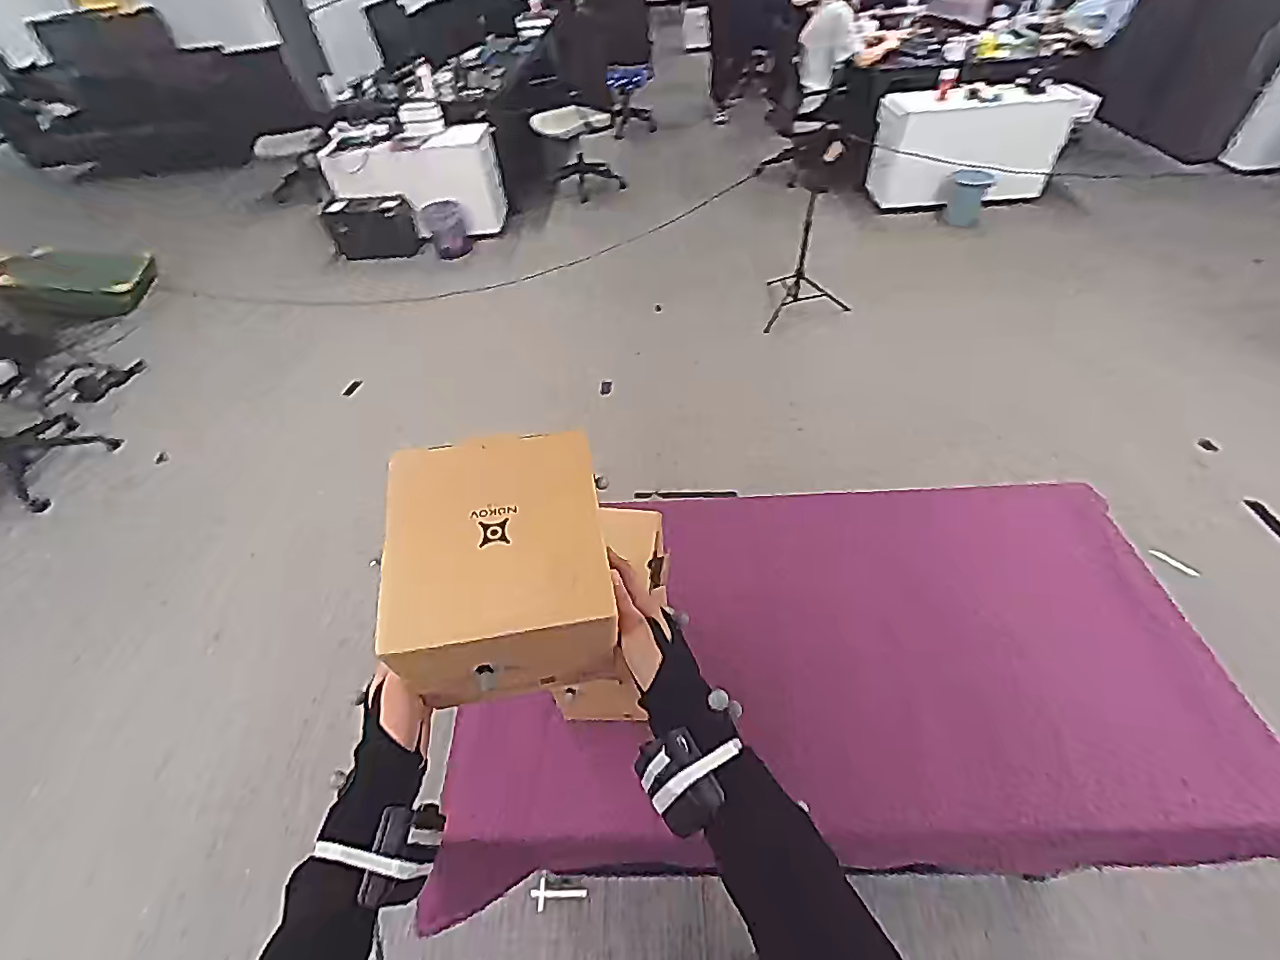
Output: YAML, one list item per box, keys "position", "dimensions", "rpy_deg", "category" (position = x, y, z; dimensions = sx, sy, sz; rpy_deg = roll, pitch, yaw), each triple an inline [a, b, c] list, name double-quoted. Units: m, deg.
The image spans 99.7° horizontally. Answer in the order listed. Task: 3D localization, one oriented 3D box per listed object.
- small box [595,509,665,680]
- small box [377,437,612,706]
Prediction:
- position: [-0.063, 0.155, 0.733]
  dimensions: [0.179, 0.176, 0.168]
  rpy_deg: [4, 48, 8]
  category: "small box"
- position: [-0.117, 0.088, 0.484]
  dimensions: [0.168, 0.176, 0.179]
  rpy_deg: [-8, 55, -10]
  category: "small box"
